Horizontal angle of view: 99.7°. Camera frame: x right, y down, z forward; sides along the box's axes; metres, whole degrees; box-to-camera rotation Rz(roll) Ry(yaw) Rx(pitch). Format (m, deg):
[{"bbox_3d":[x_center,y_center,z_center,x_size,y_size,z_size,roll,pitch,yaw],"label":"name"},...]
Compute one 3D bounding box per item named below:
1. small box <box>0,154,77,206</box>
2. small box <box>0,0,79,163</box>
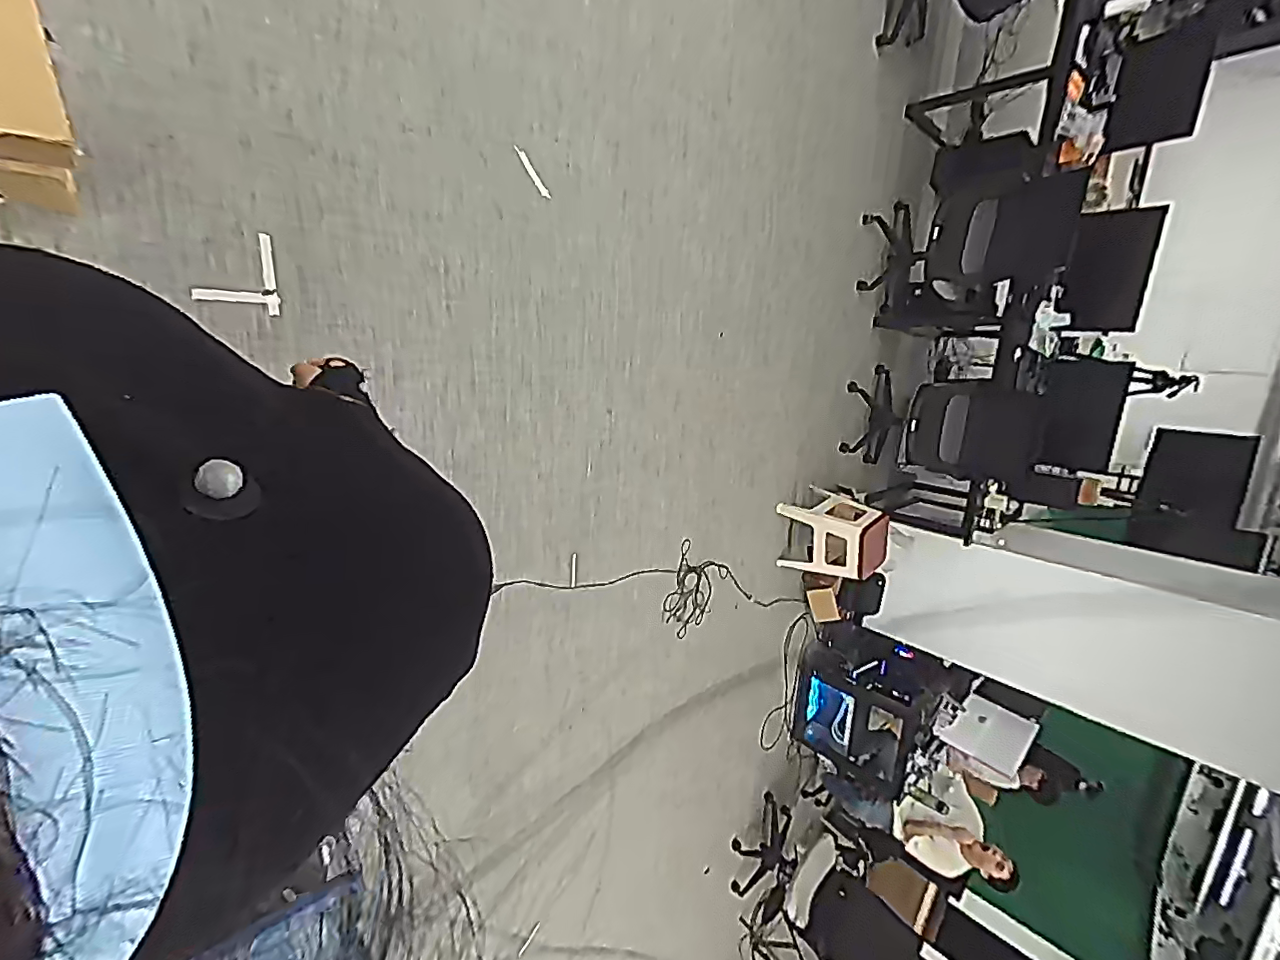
[{"bbox_3d":[-1.044,-0.566,0.875,0.168,0.176,0.179,-10,109,-43],"label":"small box"},{"bbox_3d":[-0.812,-0.507,0.648,0.168,0.176,0.179,-15,113,-41],"label":"small box"}]
